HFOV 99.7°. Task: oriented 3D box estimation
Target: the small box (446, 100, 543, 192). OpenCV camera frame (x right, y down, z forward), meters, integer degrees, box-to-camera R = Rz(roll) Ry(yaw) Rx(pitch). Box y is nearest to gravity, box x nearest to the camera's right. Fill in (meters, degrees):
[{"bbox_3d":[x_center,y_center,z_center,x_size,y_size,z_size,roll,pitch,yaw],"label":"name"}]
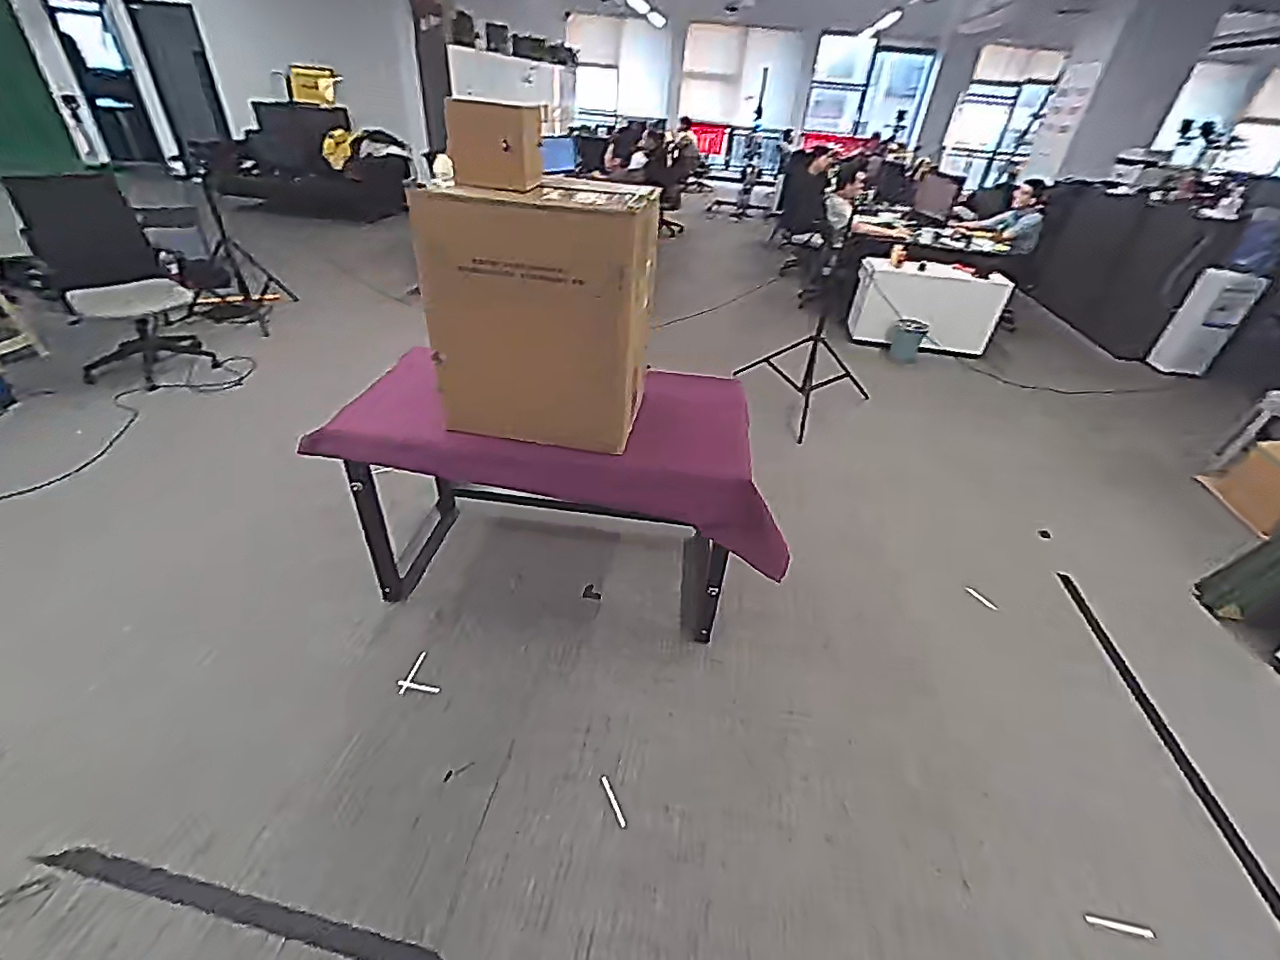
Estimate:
[{"bbox_3d":[-0.331,-0.784,1.271,0.179,0.176,0.168,6,35,2],"label":"small box"}]
